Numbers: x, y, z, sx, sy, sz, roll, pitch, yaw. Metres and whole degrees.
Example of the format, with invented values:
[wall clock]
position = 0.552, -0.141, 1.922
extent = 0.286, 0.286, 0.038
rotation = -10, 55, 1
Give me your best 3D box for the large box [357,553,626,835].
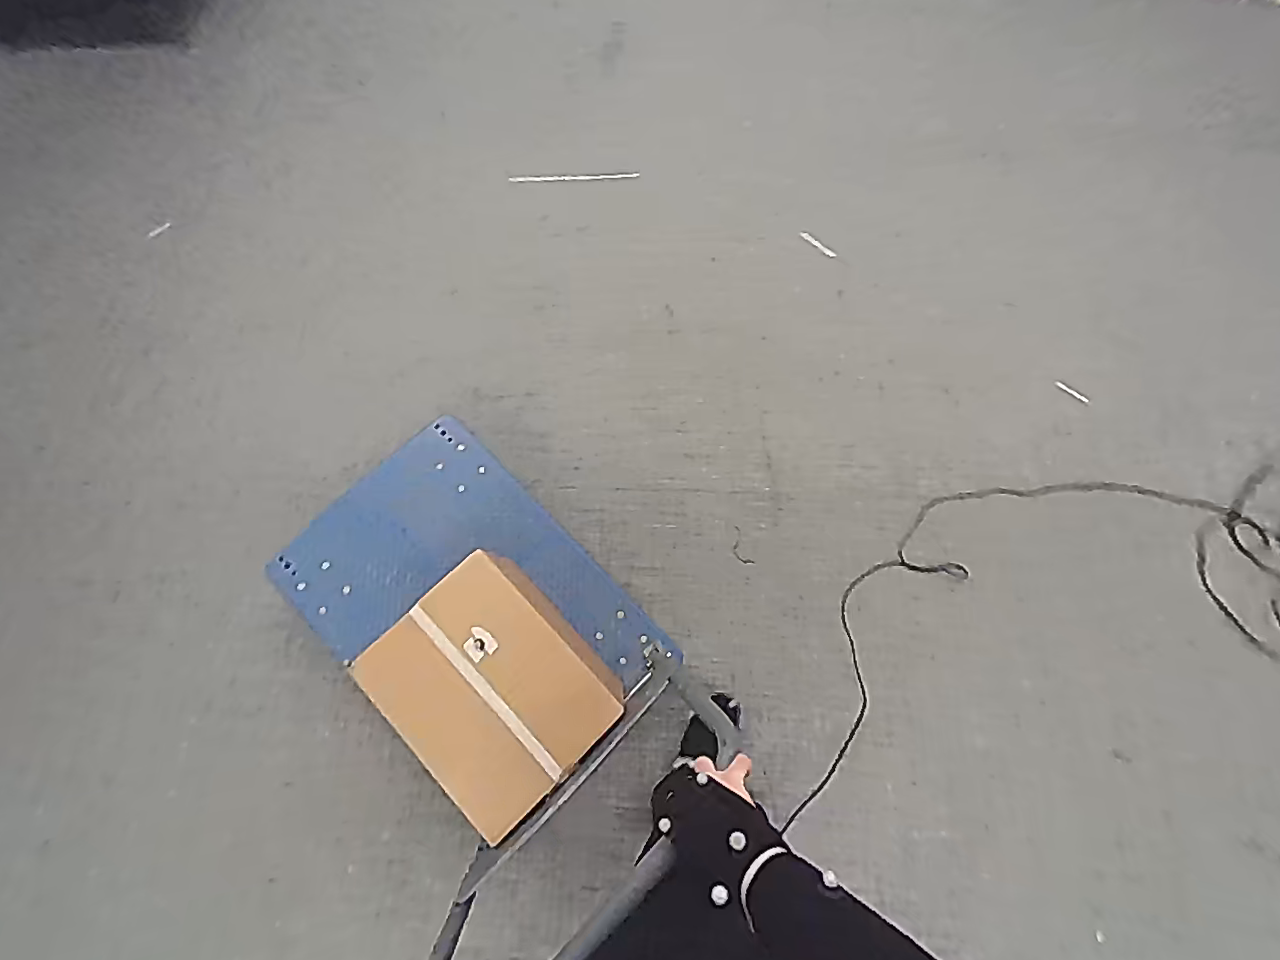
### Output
[large box]
position = -0.274, 0.411, 1.127
extent = 0.320, 0.320, 0.408
rotation = -44, 81, -11
